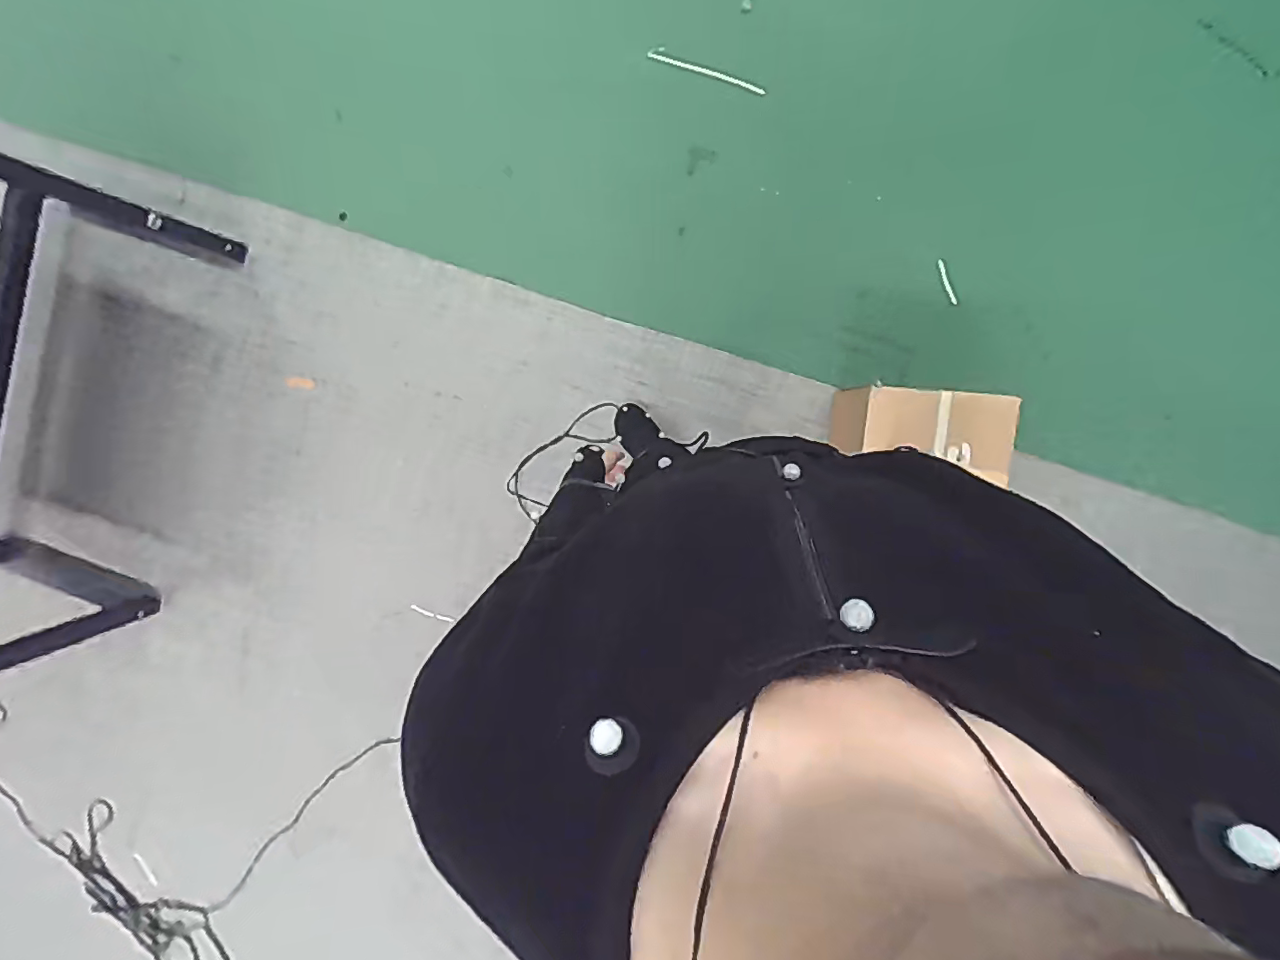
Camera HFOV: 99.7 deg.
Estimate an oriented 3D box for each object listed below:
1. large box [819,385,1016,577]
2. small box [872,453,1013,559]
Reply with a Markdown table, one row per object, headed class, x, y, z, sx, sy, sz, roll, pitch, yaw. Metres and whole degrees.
| class | x | y | z | sx | sy | sz | roll | pitch | yaw |
| --- | --- | --- | --- | --- | --- | --- | --- | --- | --- |
| large box | 0.640 | -0.007 | 1.314 | 0.320 | 0.320 | 0.408 | 5 | 96 | 3 |
| small box | 0.585 | 0.043 | 1.074 | 0.179 | 0.176 | 0.168 | 11 | 98 | 4 |
